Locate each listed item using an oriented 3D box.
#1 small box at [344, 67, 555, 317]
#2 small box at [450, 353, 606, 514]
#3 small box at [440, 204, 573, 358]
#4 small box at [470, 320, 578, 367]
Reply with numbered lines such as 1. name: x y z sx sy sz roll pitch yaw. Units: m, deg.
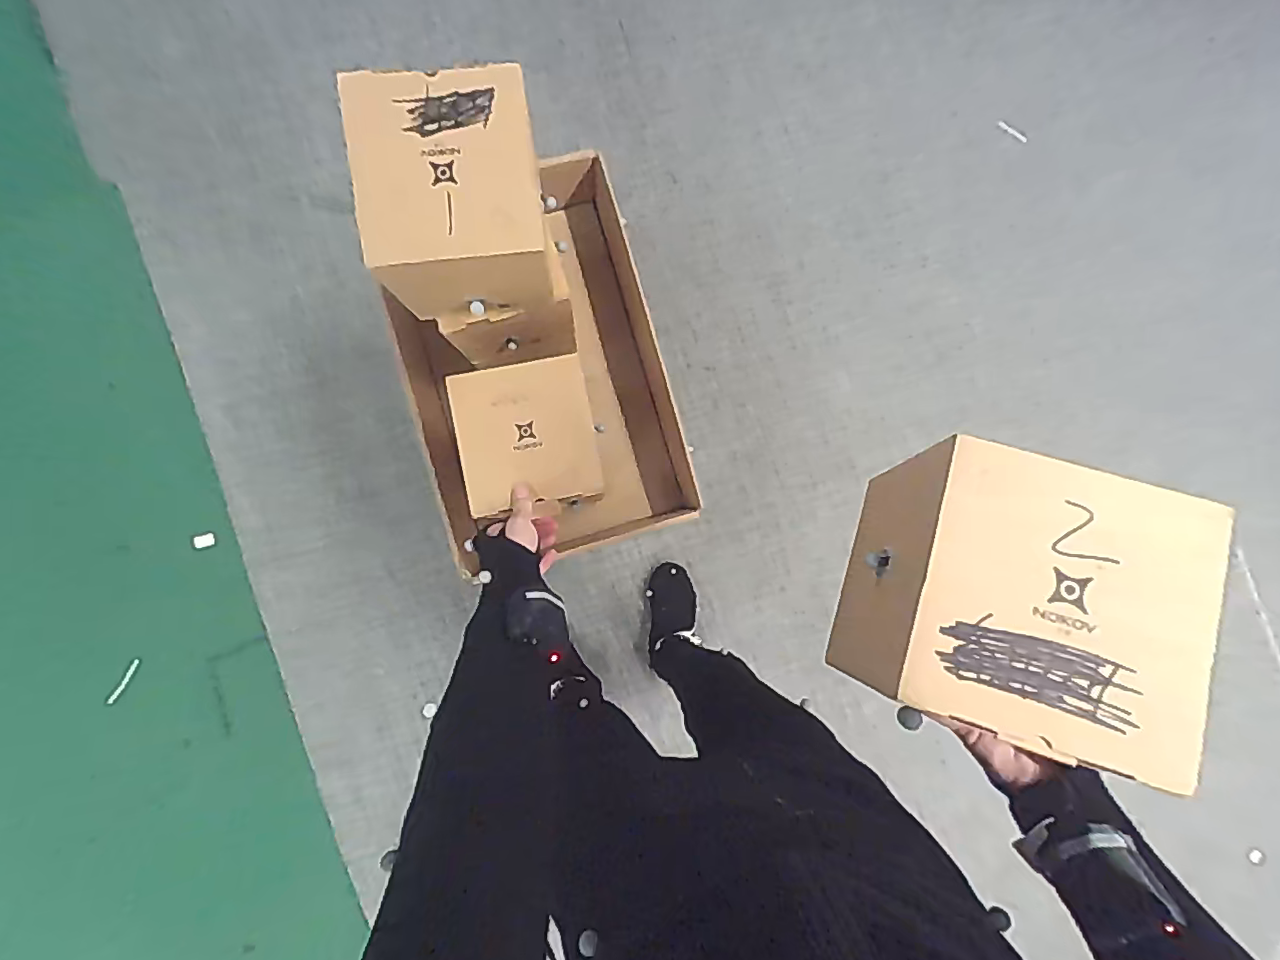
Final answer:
1. small box: -0.186 -0.291 0.578 0.168 0.176 0.179 -8 91 -5
2. small box: -0.140 -0.054 0.733 0.168 0.176 0.179 -11 87 -5
3. small box: -0.194 -0.287 0.742 0.168 0.176 0.179 -17 92 -5
4. small box: -0.205 -0.289 0.903 0.168 0.176 0.179 -16 92 -4
